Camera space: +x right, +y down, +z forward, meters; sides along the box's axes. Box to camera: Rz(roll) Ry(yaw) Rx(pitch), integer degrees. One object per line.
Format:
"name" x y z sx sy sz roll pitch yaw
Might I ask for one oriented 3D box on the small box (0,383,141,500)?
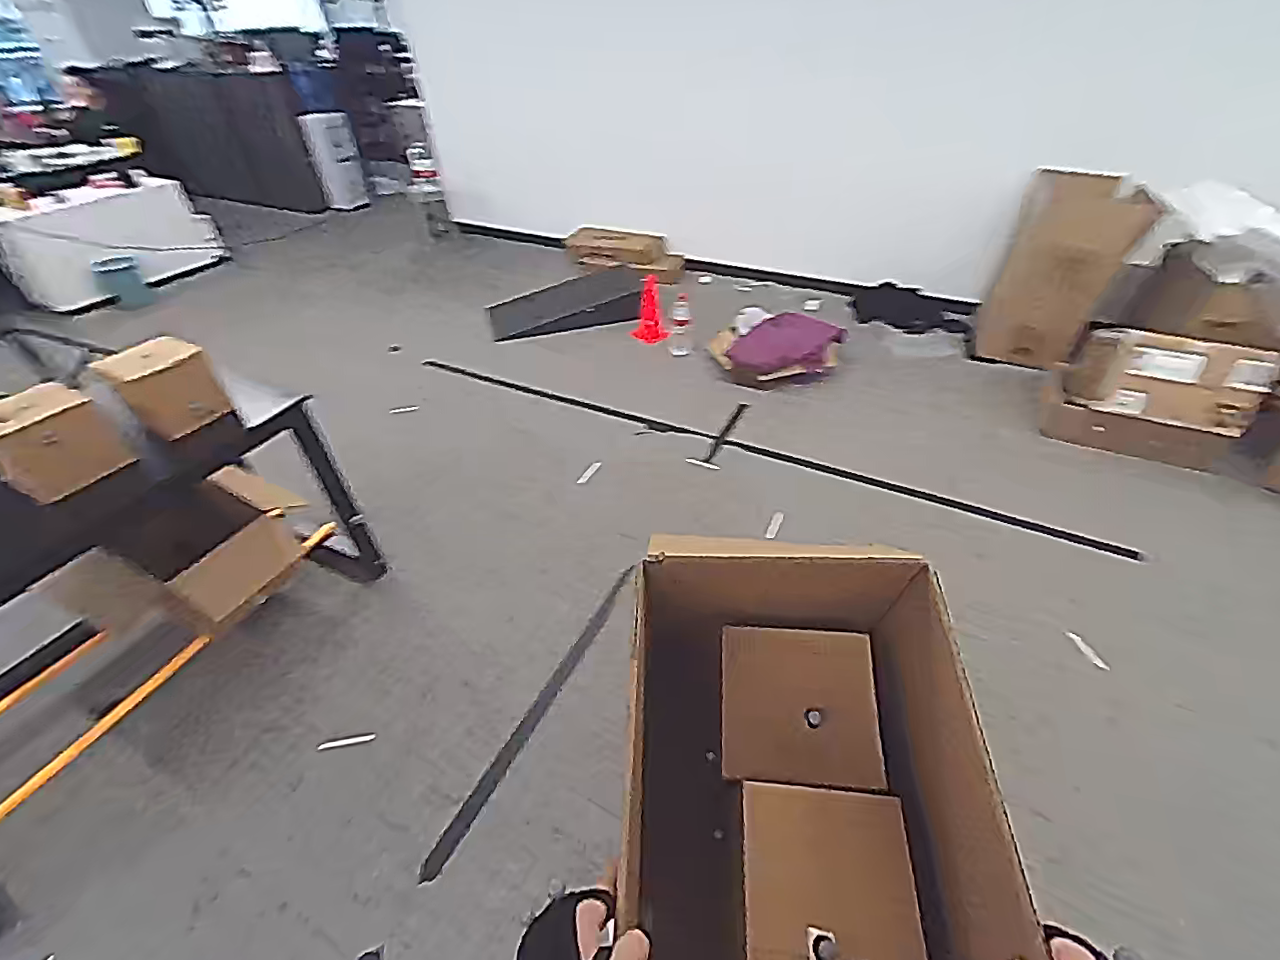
"small box" -1.268 -0.084 1.181 0.168 0.176 0.179 19 44 22

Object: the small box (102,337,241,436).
"small box" -1.153 -0.230 1.342 0.179 0.176 0.168 19 46 22
